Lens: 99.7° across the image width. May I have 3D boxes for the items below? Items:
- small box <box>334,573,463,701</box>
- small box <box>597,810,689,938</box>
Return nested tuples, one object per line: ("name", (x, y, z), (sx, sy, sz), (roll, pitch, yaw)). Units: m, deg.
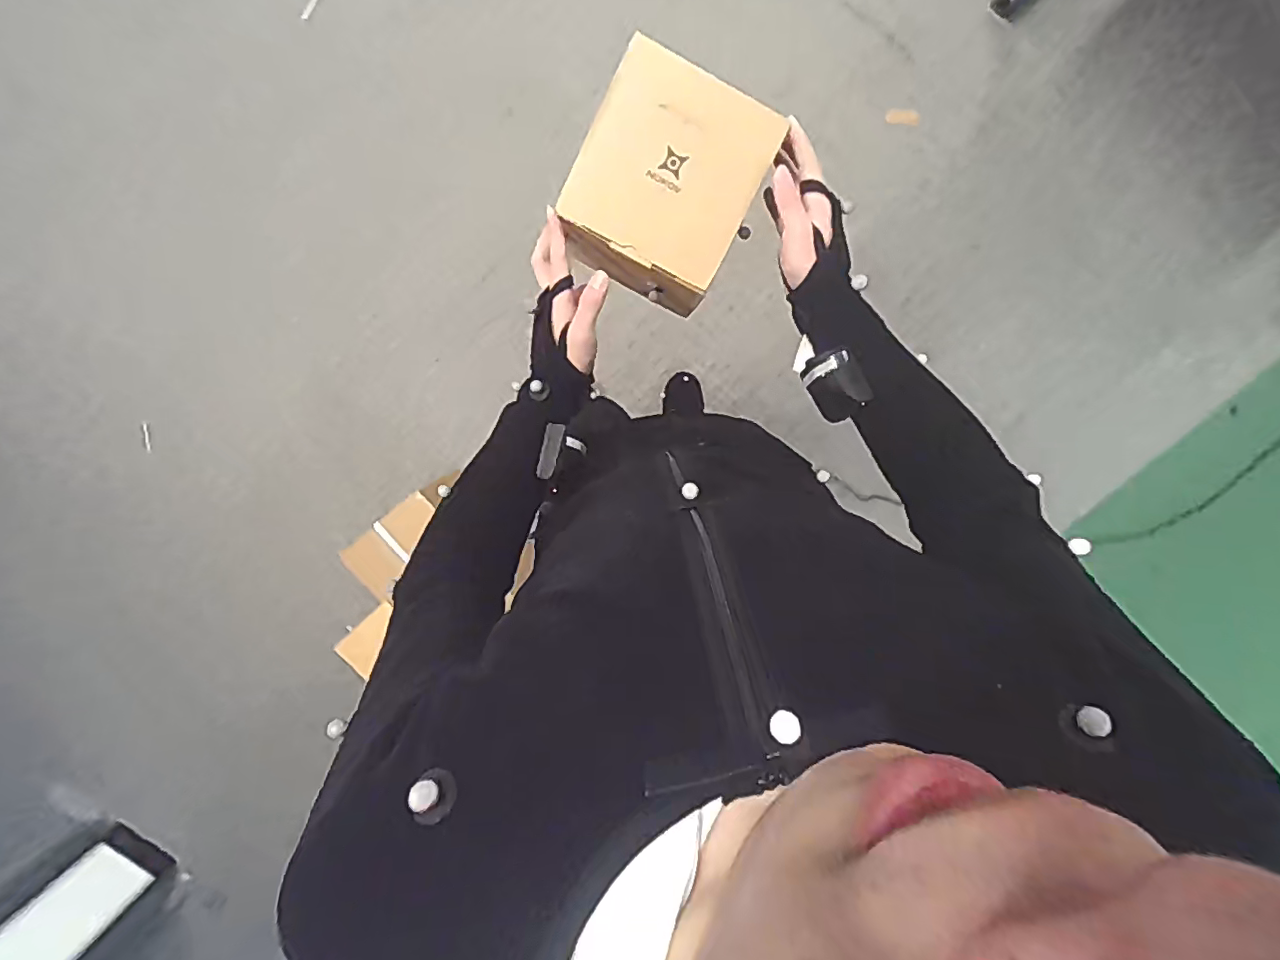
("small box", (-0.518, 0.337, 1.194), (0.179, 0.176, 0.168), (-41, 98, 13))
("small box", (0.012, 0.940, 1.304), (0.179, 0.176, 0.168), (17, 105, 0))
